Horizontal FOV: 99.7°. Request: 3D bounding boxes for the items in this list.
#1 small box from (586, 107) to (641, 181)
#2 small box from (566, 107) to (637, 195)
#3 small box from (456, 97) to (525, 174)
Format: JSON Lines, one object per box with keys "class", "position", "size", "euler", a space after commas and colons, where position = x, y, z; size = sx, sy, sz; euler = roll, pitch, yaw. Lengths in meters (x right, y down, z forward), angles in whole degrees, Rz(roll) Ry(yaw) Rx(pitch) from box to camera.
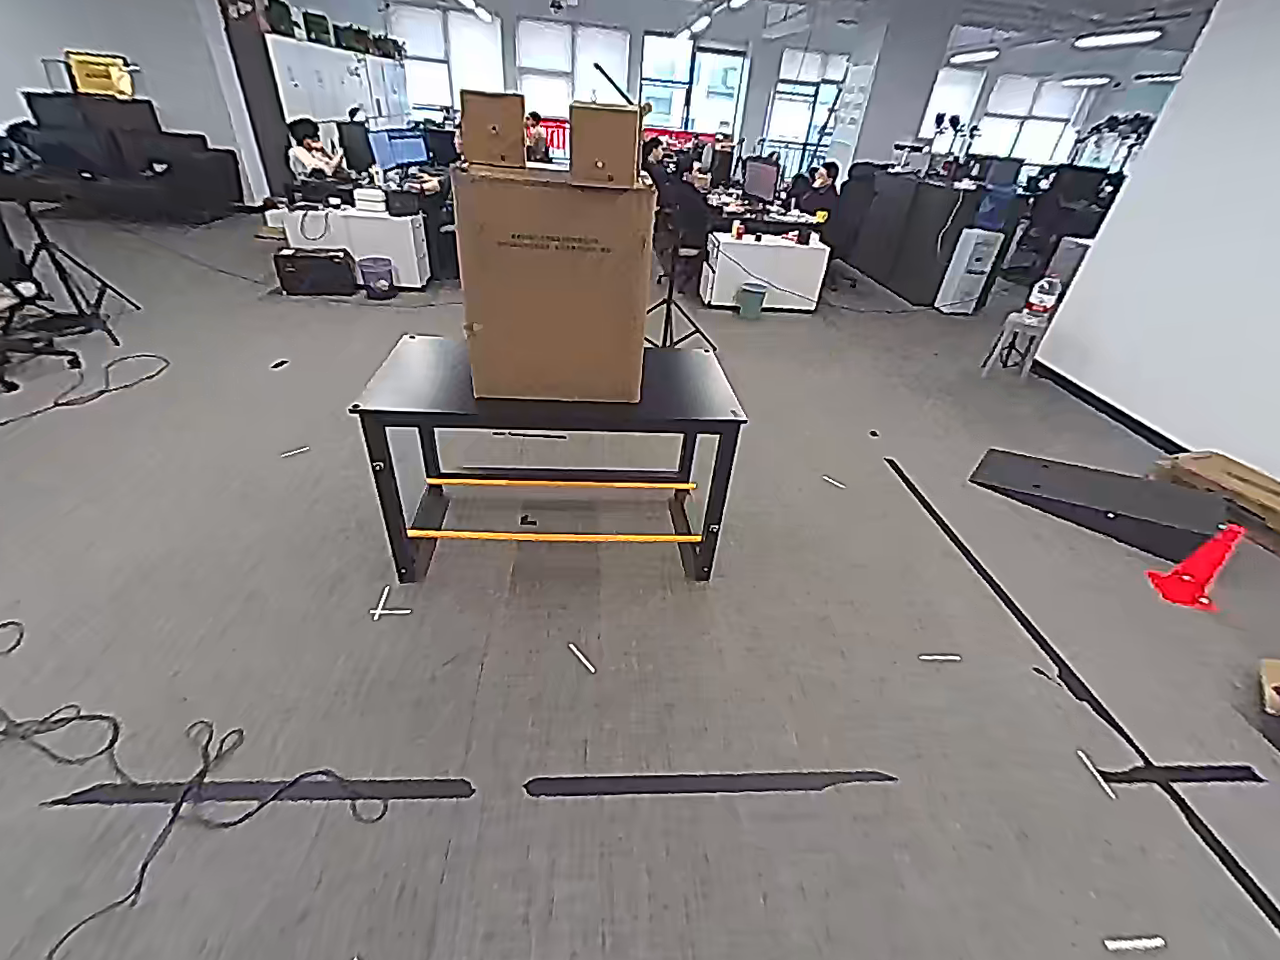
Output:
{"class": "small box", "position": [-0.086, -0.955, 1.543], "size": [0.168, 0.176, 0.179], "euler": [0, 33, -3]}
{"class": "small box", "position": [-0.094, -0.837, 1.373], "size": [0.168, 0.176, 0.179], "euler": [2, 38, 0]}
{"class": "small box", "position": [-0.410, -0.963, 1.513], "size": [0.168, 0.176, 0.179], "euler": [-1, 34, -9]}
